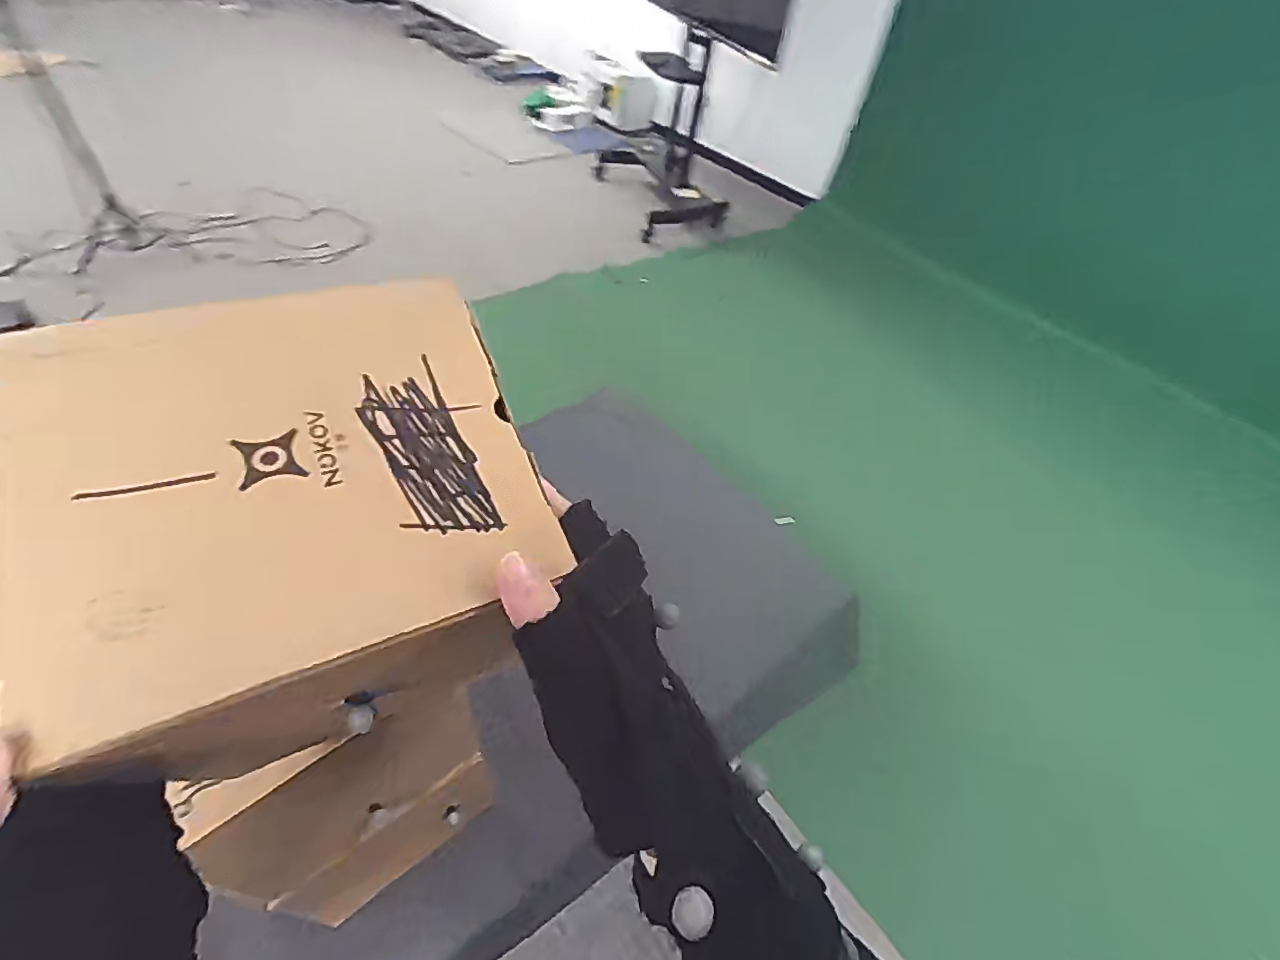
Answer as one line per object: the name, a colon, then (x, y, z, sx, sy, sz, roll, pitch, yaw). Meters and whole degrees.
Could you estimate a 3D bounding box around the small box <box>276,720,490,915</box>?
small box: (-0.266, 0.289, 0.545, 0.179, 0.176, 0.168, -30, 57, -30)

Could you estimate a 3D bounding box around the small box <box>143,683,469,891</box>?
small box: (-0.251, 0.175, 0.428, 0.179, 0.176, 0.168, -29, 57, -32)

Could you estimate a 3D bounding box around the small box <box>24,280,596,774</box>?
small box: (-0.144, 0.027, 0.280, 0.179, 0.176, 0.168, -16, 69, -23)
